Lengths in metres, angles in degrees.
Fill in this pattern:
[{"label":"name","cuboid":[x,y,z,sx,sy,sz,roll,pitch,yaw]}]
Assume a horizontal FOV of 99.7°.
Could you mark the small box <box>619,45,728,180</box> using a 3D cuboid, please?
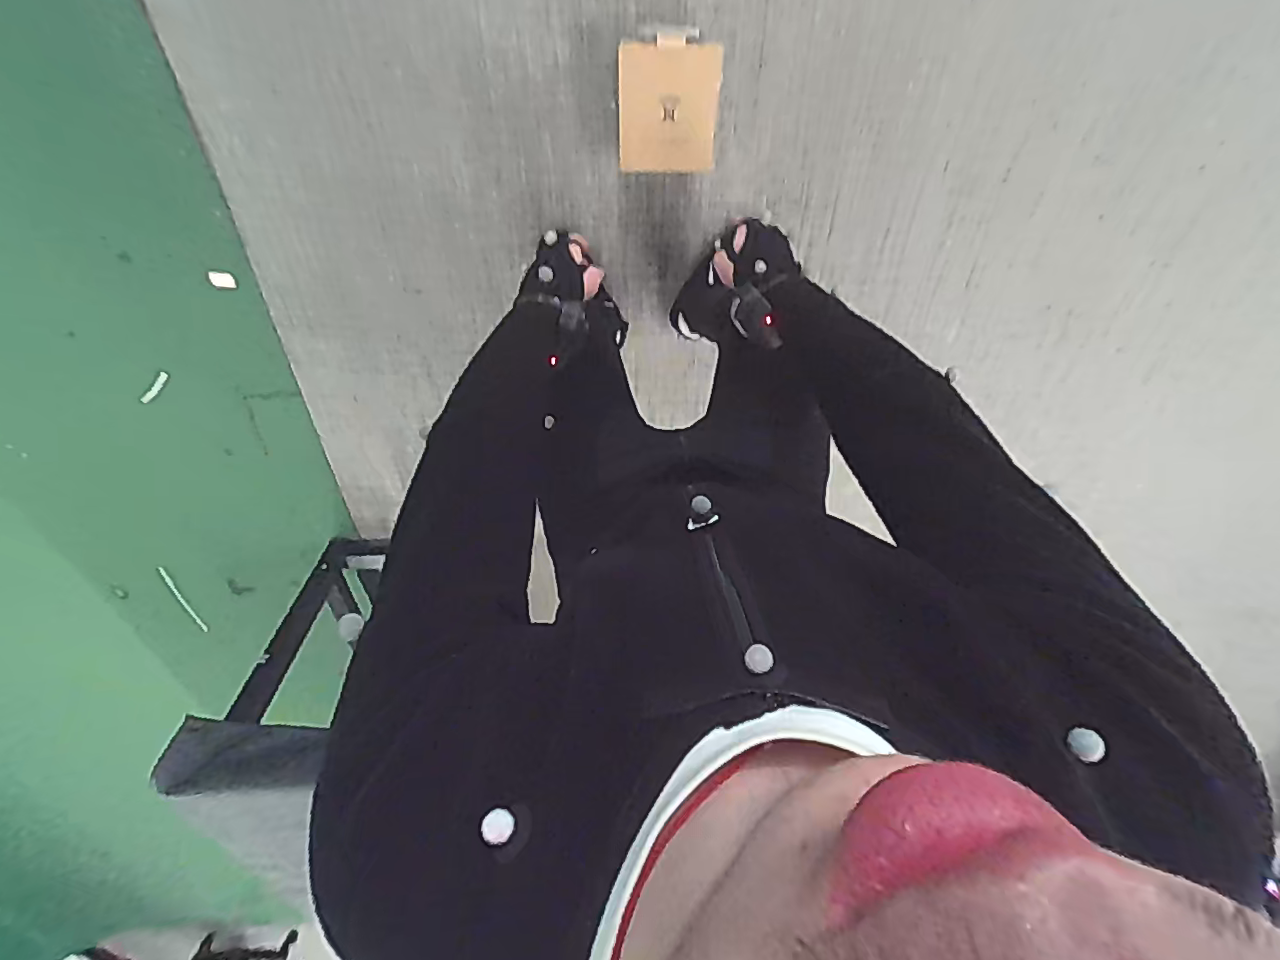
[{"label":"small box","cuboid":[0.049,-0.637,0.942,0.168,0.176,0.179,2,127,-2]}]
